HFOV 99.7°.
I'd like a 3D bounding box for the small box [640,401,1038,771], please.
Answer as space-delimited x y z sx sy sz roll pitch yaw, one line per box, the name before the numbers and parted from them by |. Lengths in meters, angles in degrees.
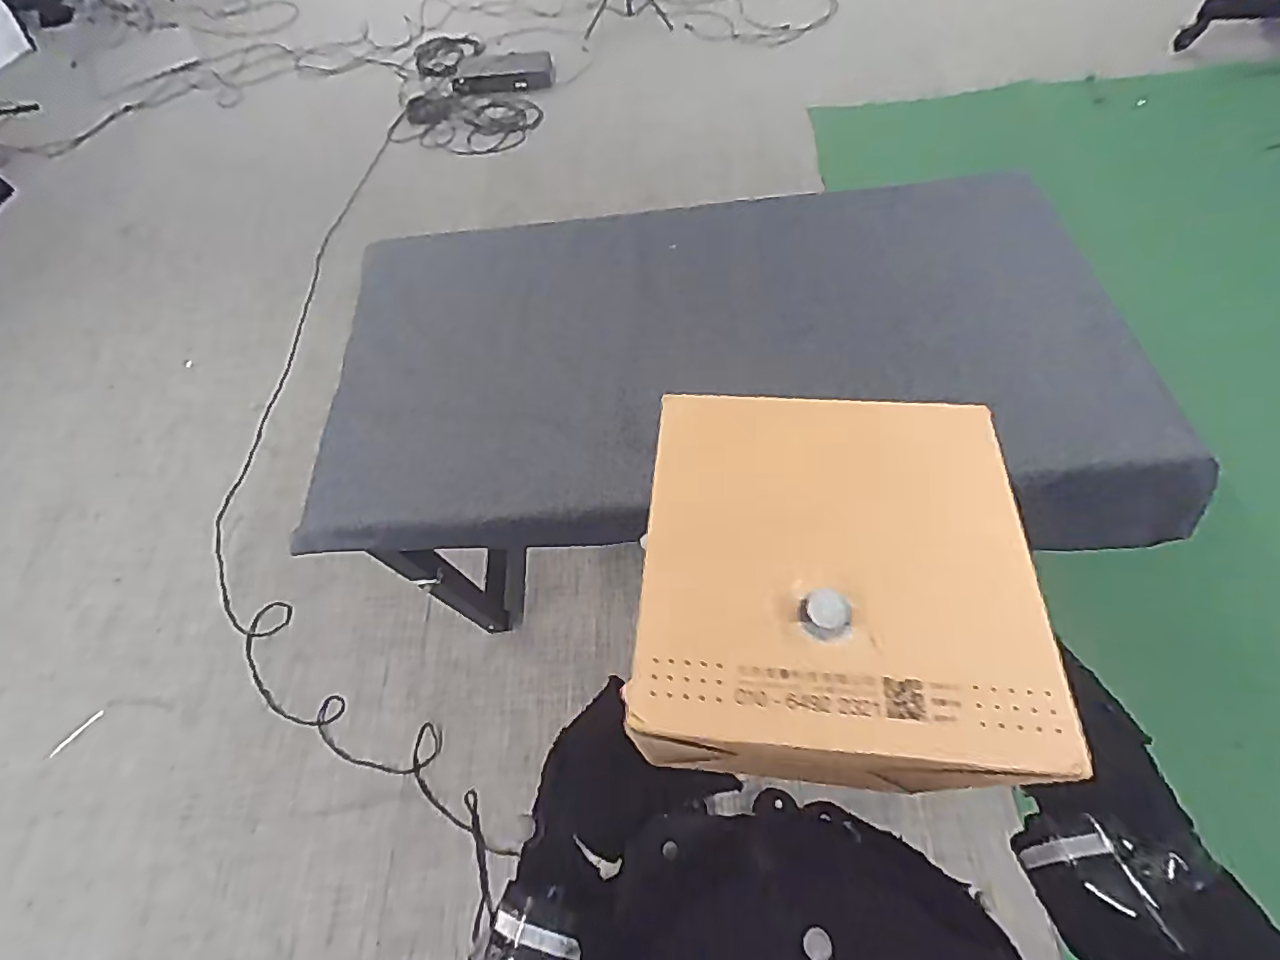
small box | 0.091 0.074 0.327 0.168 0.179 0.176 2 60 5
